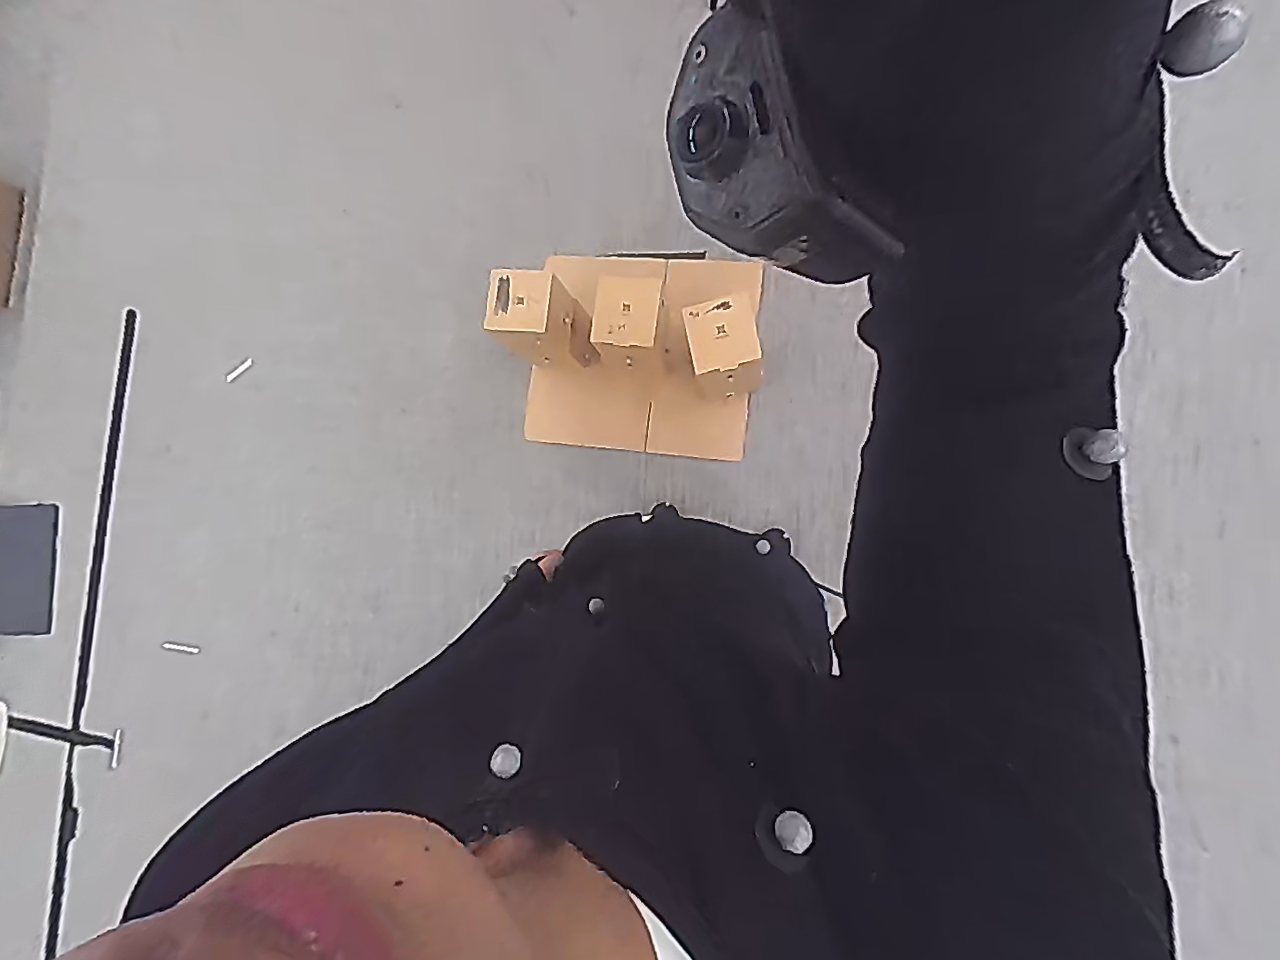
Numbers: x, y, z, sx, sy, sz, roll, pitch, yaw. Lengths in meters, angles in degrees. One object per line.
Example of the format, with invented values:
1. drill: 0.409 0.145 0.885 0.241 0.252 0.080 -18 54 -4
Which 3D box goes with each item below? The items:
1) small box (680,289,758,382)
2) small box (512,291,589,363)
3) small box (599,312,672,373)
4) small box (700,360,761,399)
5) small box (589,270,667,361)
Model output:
1. small box: 0.208 -0.361 1.391 0.168 0.176 0.179 -12 85 10
2. small box: -0.266 -0.460 1.645 0.179 0.176 0.168 6 88 12
3. small box: -0.006 -0.421 1.599 0.179 0.176 0.168 8 89 10
4. small box: 0.244 -0.350 1.550 0.168 0.176 0.179 -14 84 10
5. small box: -0.025 -0.432 1.435 0.168 0.176 0.179 8 89 10
